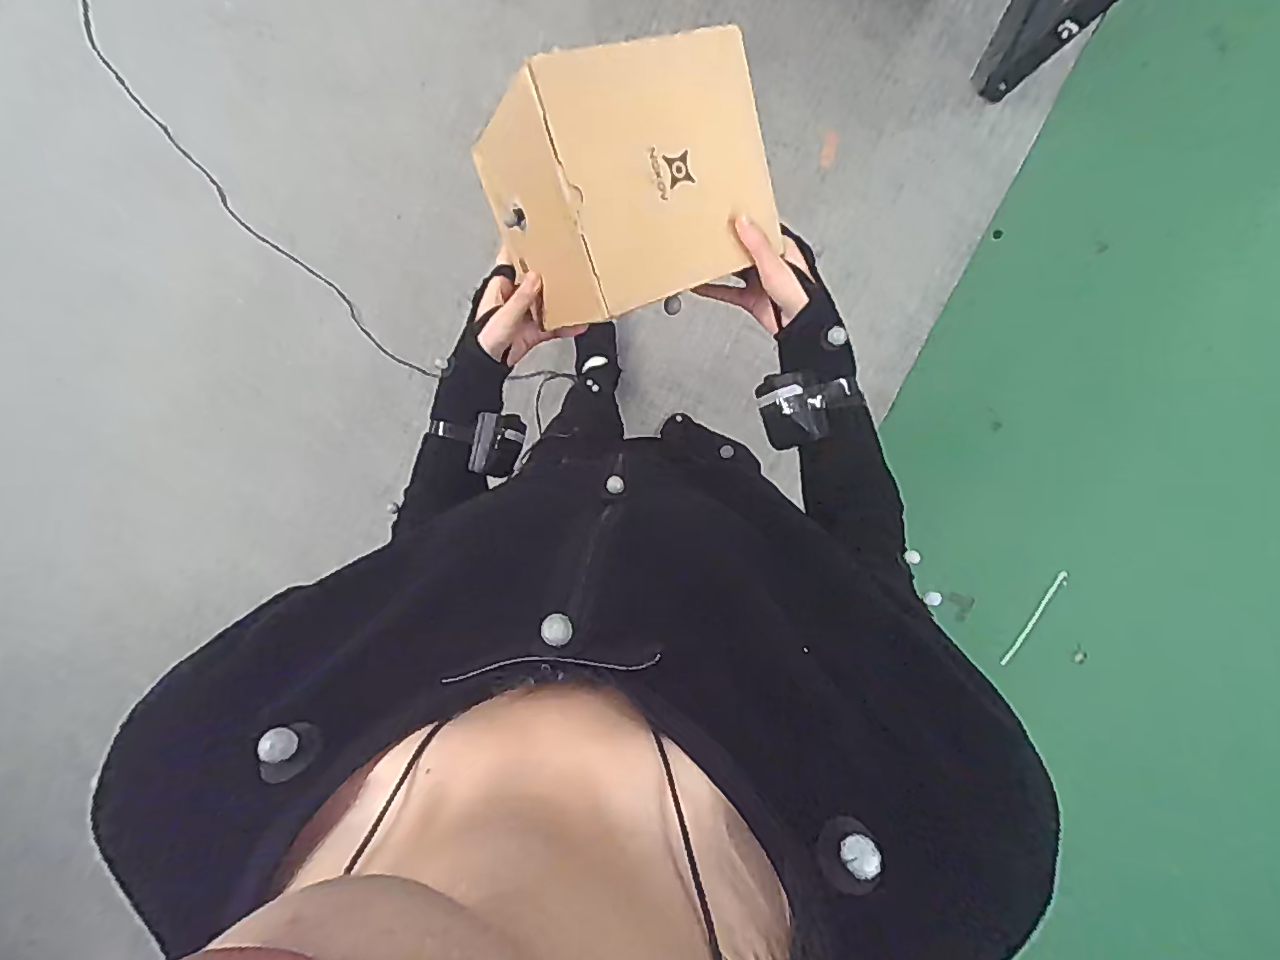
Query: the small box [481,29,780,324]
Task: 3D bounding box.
[{"bbox_3d":[-0.013,-0.242,0.465,0.179,0.176,0.168,-26,112,-20],"label":"small box"}]
